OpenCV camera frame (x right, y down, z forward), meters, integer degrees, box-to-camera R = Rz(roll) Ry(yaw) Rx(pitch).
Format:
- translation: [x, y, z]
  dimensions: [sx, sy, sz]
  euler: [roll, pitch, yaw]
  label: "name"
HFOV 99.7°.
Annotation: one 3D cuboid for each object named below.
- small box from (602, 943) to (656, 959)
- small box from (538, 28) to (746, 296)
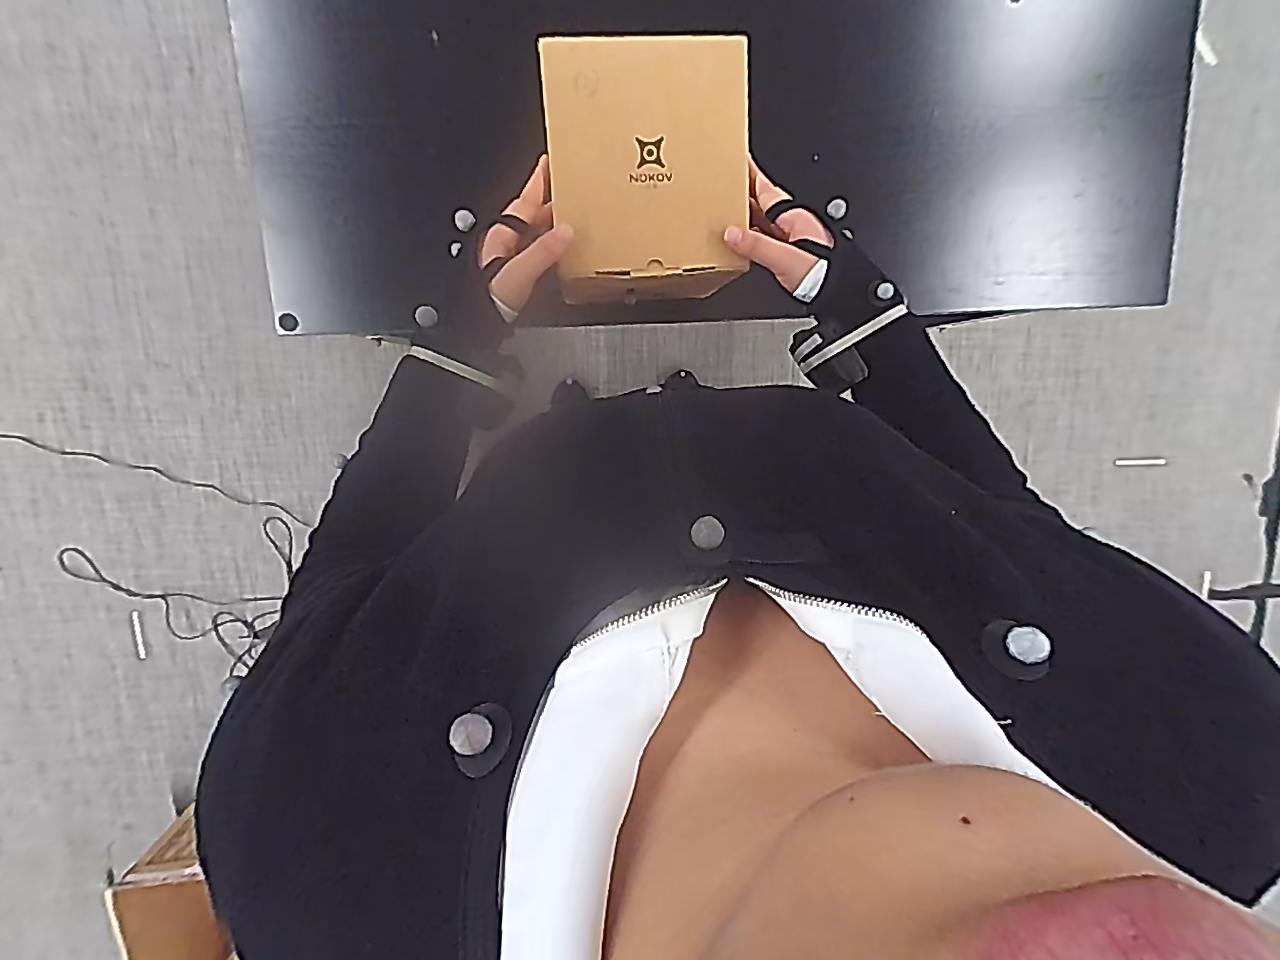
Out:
- translation: [-0.032, 1.550, 1.637]
  dimensions: [0.168, 0.176, 0.179]
  euler: [2, 98, -5]
  label: "small box"
- translation: [-0.003, -0.280, 0.514]
  dimensions: [0.168, 0.176, 0.179]
  euler: [-5, 102, -4]
  label: "small box"
